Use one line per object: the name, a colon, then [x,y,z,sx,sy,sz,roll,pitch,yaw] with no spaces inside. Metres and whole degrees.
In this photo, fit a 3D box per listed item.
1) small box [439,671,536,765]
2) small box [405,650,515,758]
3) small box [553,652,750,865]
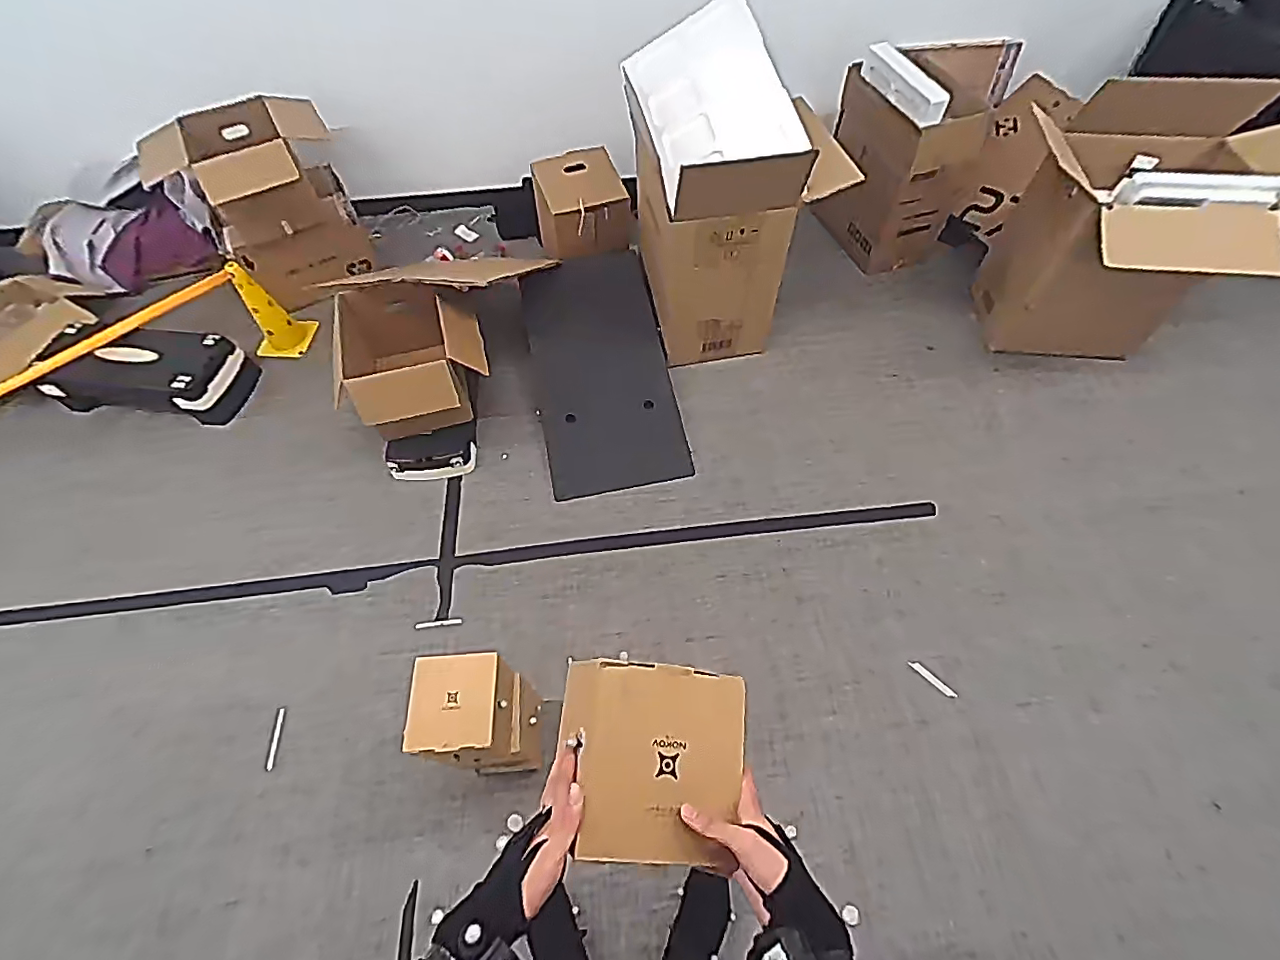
small box: [-0.342,0.550,1.240,0.179,0.176,0.168,-5,59,-3]
small box: [-0.355,0.461,1.104,0.168,0.176,0.179,-4,59,-2]
small box: [0.007,0.295,0.598,0.168,0.176,0.179,13,68,-13]
